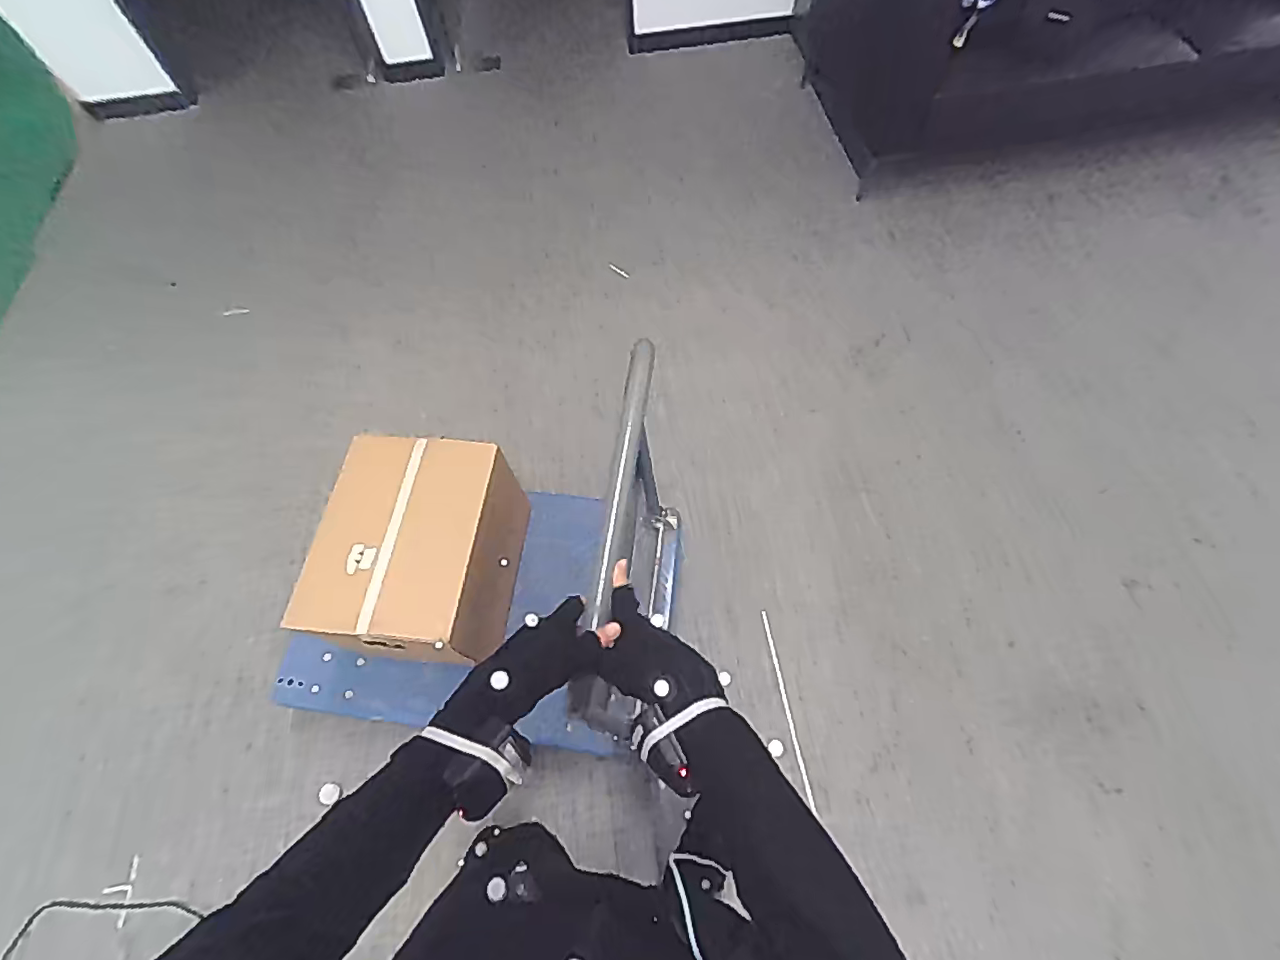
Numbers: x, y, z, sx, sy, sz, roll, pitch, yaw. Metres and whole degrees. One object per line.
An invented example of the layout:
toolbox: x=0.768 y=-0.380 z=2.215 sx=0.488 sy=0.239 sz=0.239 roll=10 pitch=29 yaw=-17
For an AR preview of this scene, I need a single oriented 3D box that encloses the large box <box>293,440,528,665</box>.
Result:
large box: x=-0.454 y=0.164 z=1.180 sx=0.320 sy=0.320 sz=0.408 roll=3 pitch=64 yaw=6
